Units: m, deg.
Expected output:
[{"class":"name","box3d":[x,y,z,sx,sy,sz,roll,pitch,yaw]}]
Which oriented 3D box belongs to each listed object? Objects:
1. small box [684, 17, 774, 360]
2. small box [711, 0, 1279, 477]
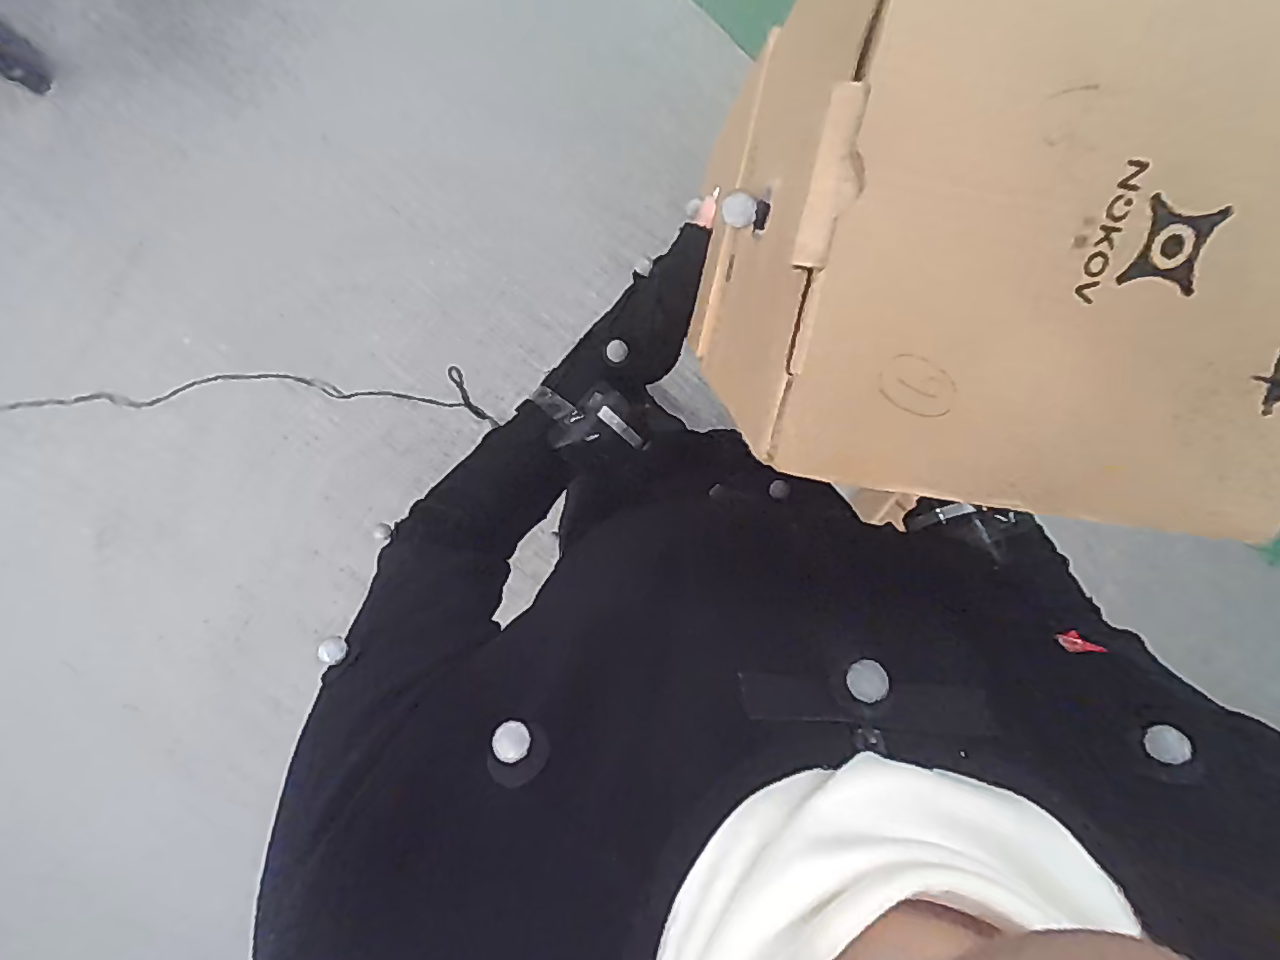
[{"class":"small box","box3d":[0.132,-0.166,0.362,0.179,0.176,0.168,6,112,-3]},{"class":"small box","box3d":[0.132,-0.112,0.228,0.179,0.176,0.168,5,110,-3]}]
